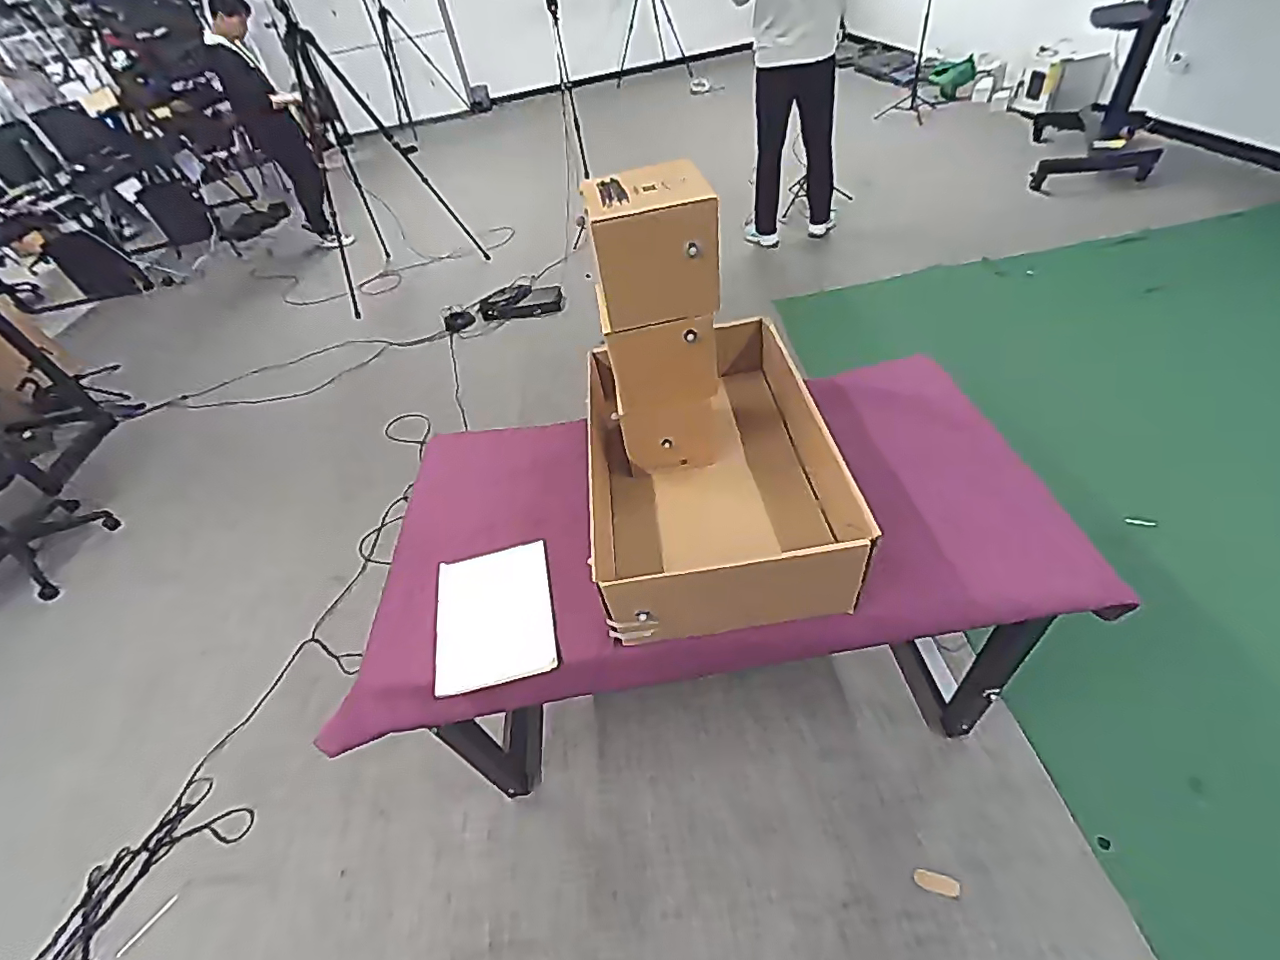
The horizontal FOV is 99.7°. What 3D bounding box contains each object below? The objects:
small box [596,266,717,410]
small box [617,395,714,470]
[{"bbox_3d":[0.030,-0.243,0.943,0.179,0.176,0.168,-11,47,1],"label":"small box"},{"bbox_3d":[0.049,-0.135,1.062,0.168,0.176,0.179,-9,47,3],"label":"small box"}]
